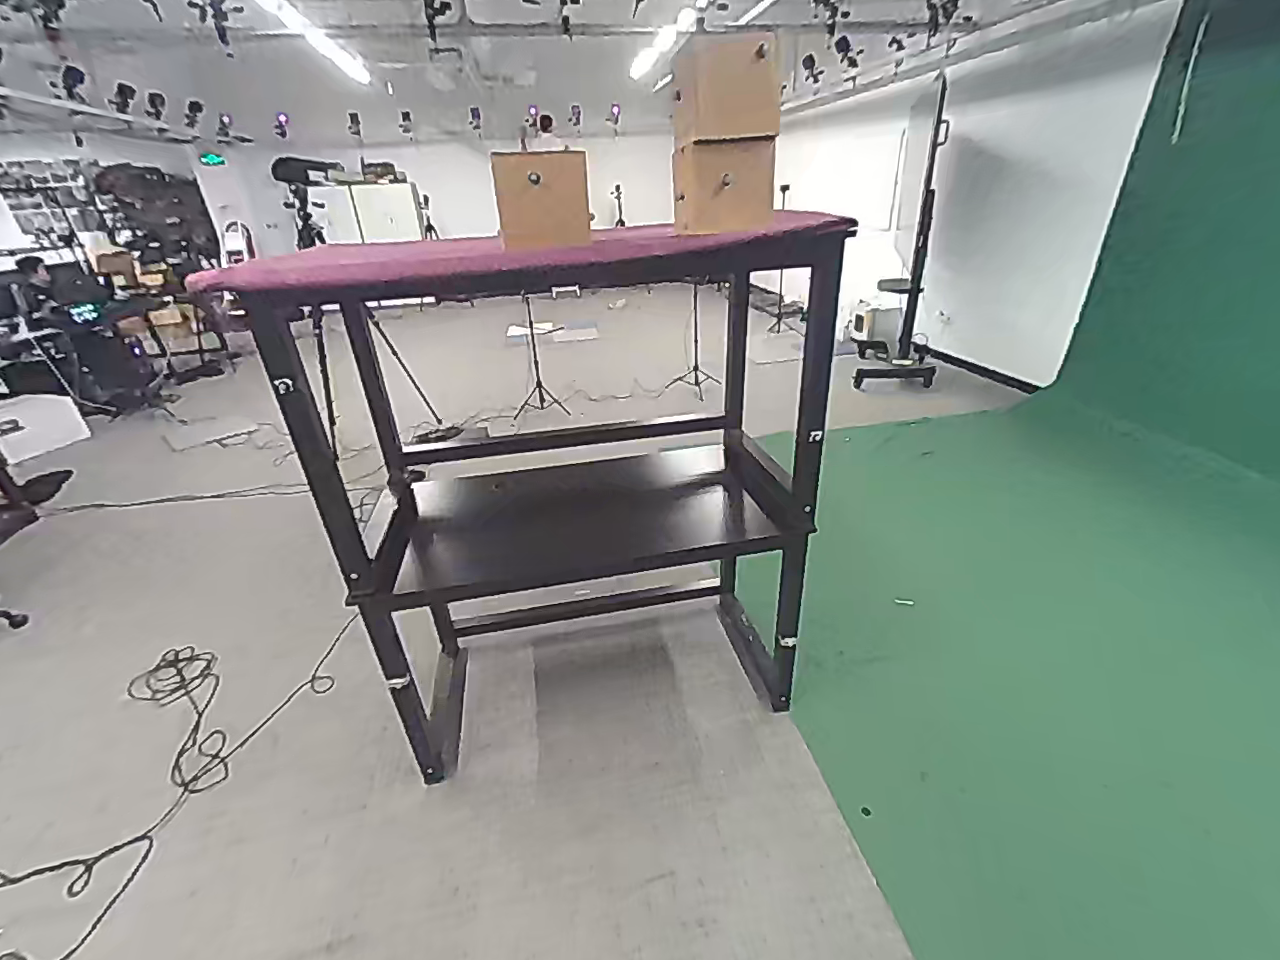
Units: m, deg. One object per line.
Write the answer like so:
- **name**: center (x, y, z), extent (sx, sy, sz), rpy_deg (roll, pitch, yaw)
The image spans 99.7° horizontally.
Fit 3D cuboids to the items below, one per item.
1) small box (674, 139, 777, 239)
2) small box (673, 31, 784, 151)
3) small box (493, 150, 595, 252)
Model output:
- **small box**: center (0.181, -0.615, 1.156), extent (0.179, 0.176, 0.168), rpy_deg (-9, 26, -7)
- **small box**: center (0.172, -0.756, 1.074), extent (0.179, 0.176, 0.168), rpy_deg (-8, 26, -8)
- **small box**: center (-0.190, -0.560, 1.093), extent (0.179, 0.176, 0.168), rpy_deg (-6, 28, -8)
